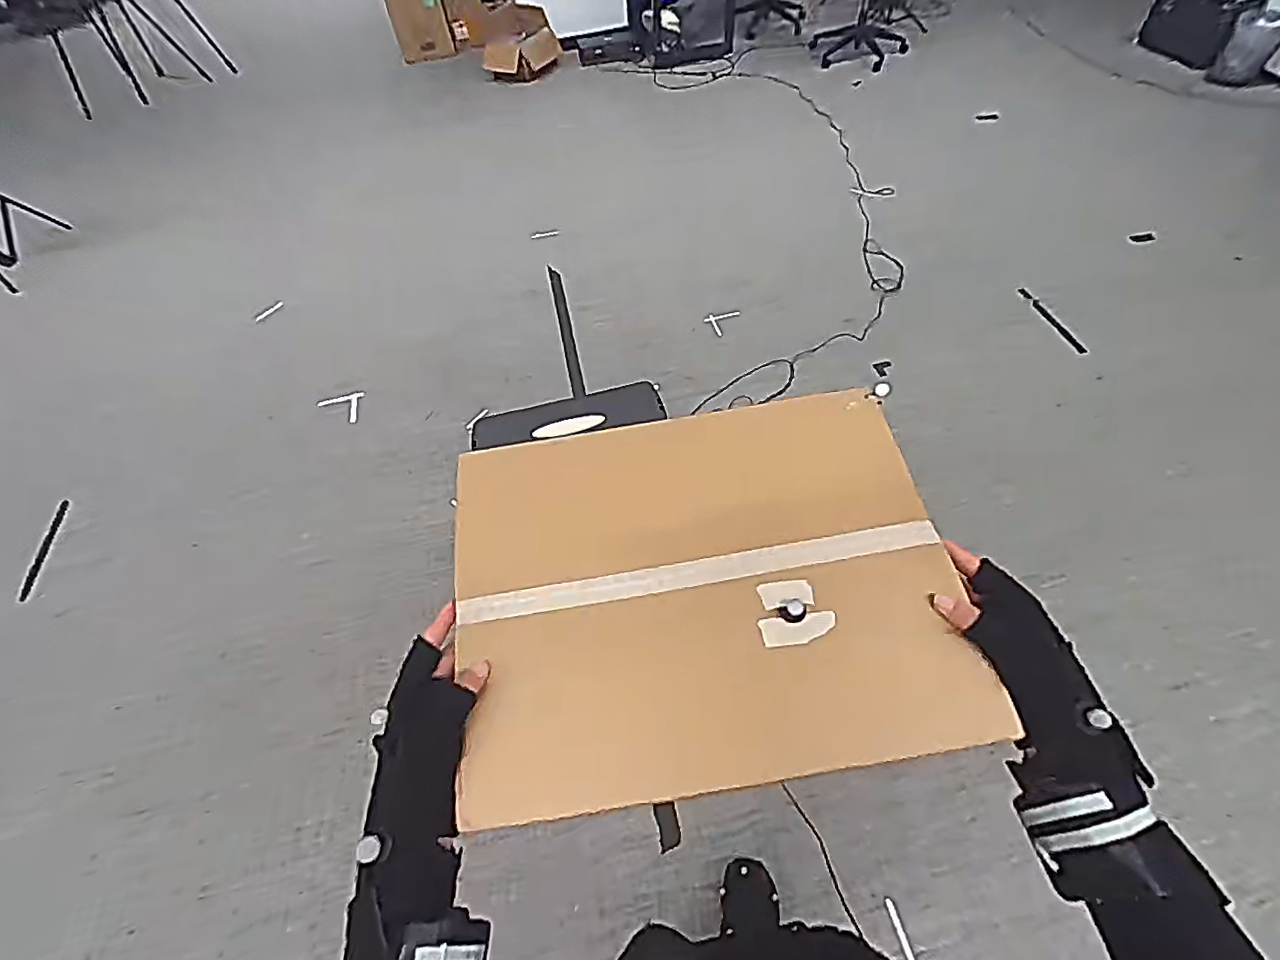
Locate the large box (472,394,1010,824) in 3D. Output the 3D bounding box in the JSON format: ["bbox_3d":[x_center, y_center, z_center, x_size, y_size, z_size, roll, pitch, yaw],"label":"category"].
[{"bbox_3d":[0.063,0.150,0.591,0.408,0.320,0.320,-9,62,-1],"label":"large box"}]
